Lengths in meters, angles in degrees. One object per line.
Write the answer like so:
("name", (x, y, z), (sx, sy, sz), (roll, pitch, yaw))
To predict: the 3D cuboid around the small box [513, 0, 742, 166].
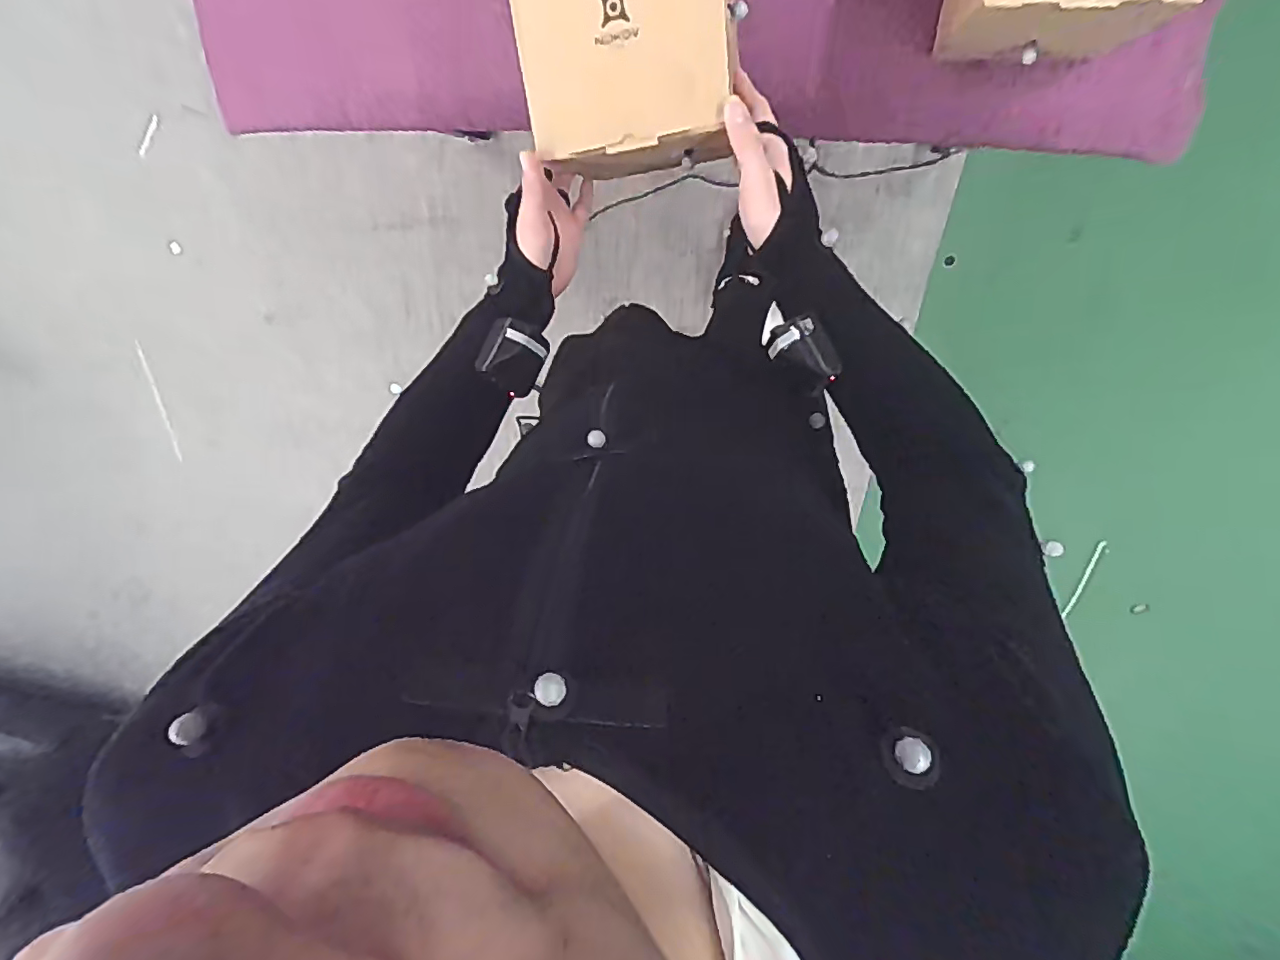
("small box", (0.000, -0.390, 0.478), (0.168, 0.176, 0.179), (-1, 113, 14))
